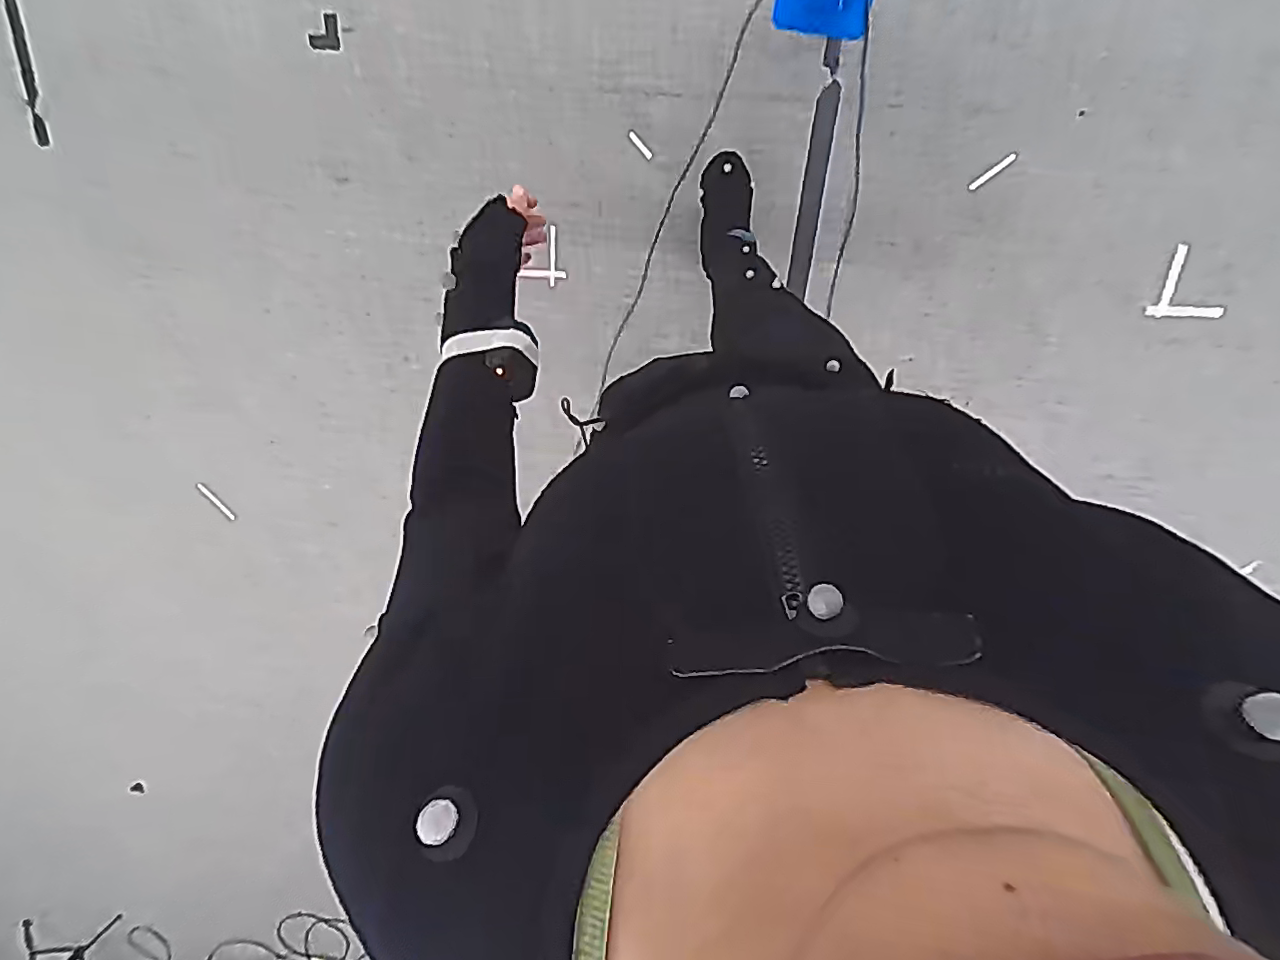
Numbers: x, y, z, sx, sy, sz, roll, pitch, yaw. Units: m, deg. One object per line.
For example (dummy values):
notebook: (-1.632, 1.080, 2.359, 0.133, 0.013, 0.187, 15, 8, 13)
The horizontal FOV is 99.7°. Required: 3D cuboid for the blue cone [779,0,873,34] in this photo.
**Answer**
blue cone: (0.372, -0.961, 0.936, 0.193, 0.380, 0.192, 8, 111, 1)
